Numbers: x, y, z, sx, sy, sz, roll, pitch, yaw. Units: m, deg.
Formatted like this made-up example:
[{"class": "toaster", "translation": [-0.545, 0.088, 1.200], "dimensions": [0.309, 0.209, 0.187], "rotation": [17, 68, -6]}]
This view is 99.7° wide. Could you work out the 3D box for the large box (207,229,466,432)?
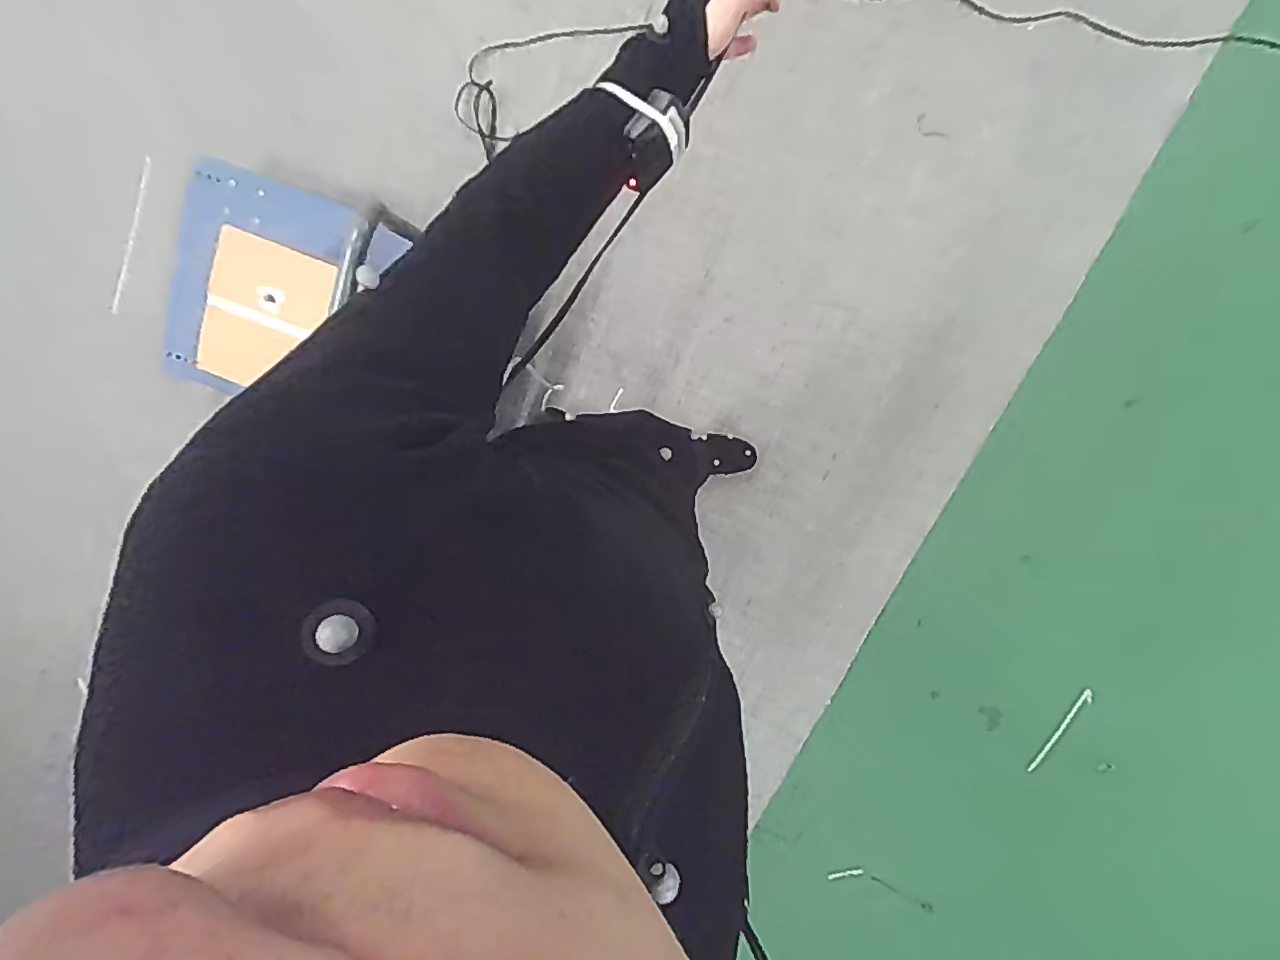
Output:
[{"class": "large box", "translation": [-0.694, -0.338, 1.290], "dimensions": [0.408, 0.320, 0.320], "rotation": [22, 100, 1]}]
